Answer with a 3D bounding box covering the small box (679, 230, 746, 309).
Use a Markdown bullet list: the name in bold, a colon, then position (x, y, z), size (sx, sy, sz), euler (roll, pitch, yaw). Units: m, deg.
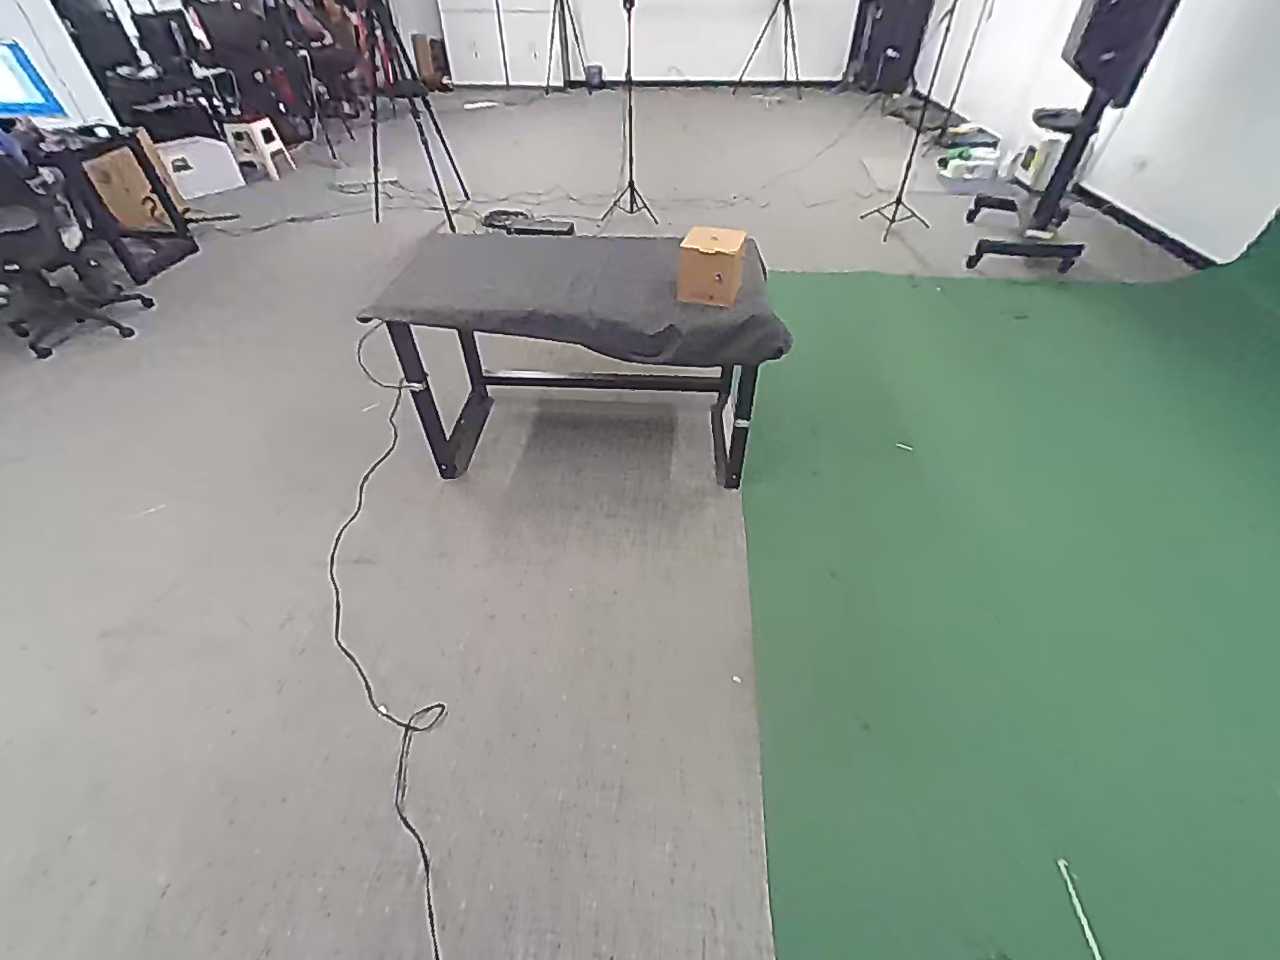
- **small box**: position (0.215, -0.635, 1.633), size (0.168, 0.176, 0.179), euler (12, 43, 12)
